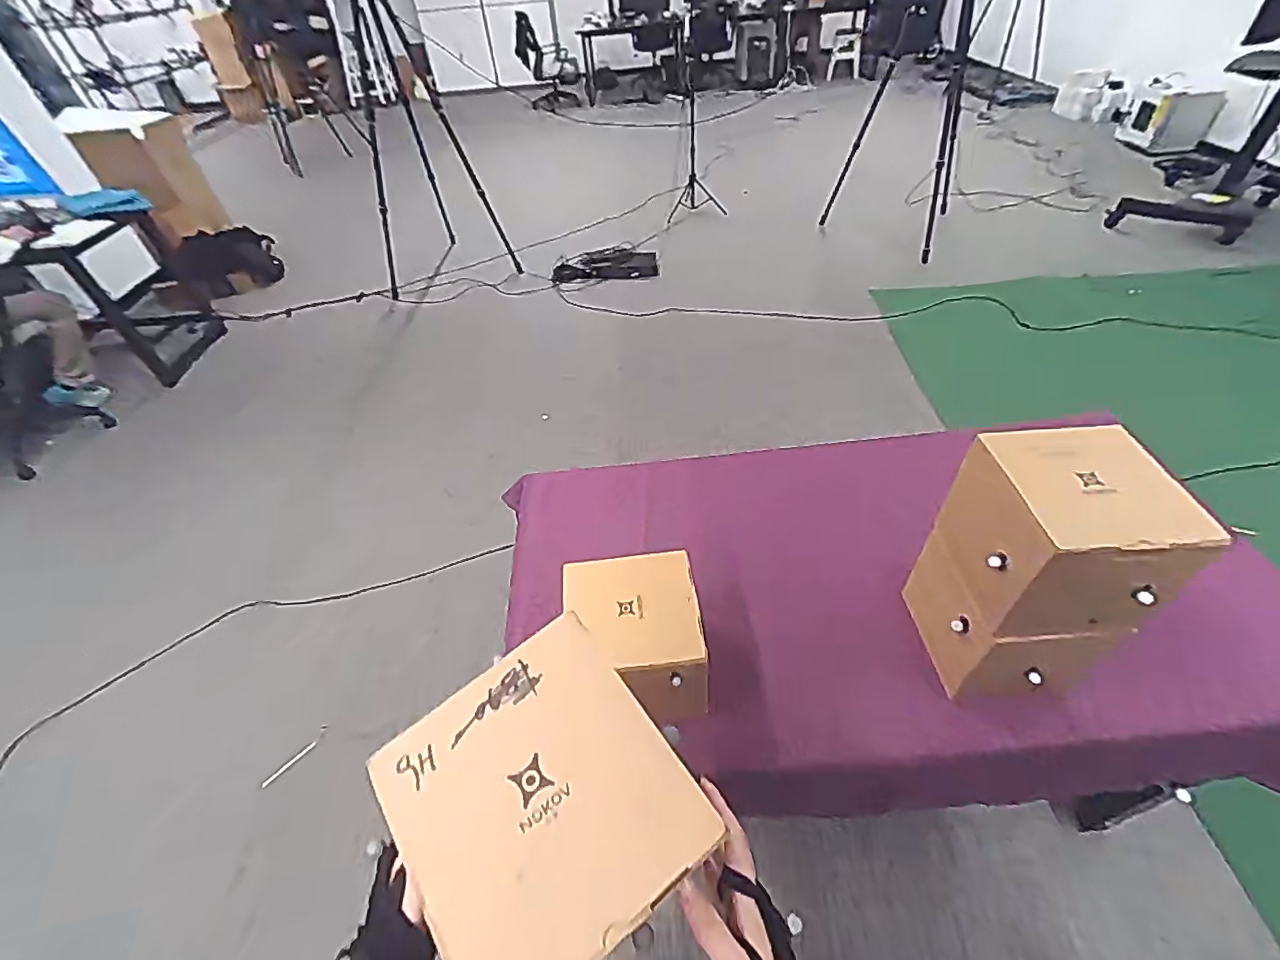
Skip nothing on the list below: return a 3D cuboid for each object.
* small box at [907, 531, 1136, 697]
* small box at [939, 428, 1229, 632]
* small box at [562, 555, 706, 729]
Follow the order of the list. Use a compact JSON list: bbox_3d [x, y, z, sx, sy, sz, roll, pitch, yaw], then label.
[{"bbox_3d":[0.495,0.182,0.736,0.168,0.176,0.179,-5,44,2],"label":"small box"},{"bbox_3d":[0.481,0.063,0.625,0.168,0.176,0.179,-3,44,3],"label":"small box"},{"bbox_3d":[-0.006,0.228,0.753,0.179,0.176,0.168,-7,44,-1],"label":"small box"}]
